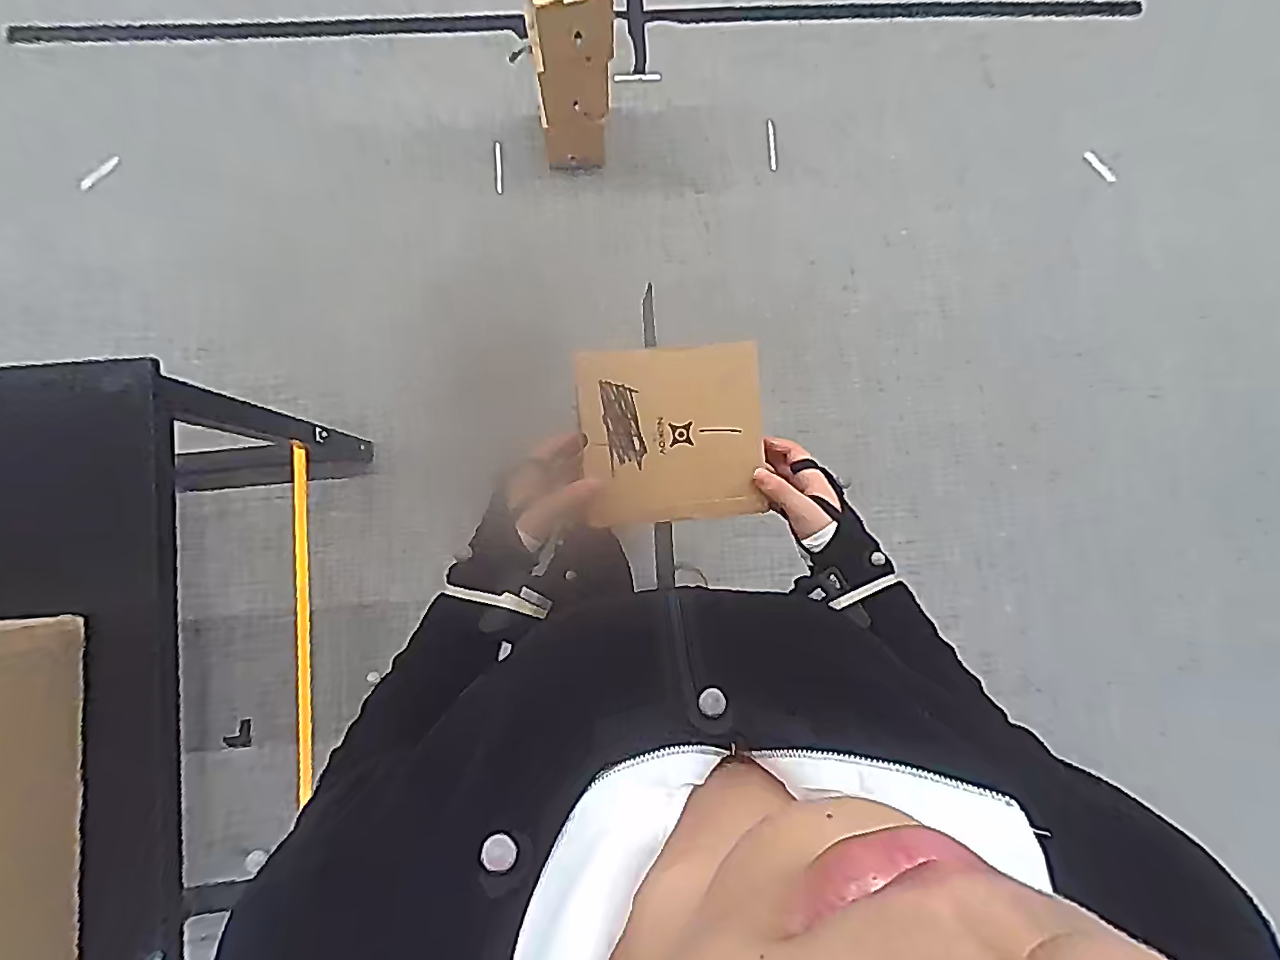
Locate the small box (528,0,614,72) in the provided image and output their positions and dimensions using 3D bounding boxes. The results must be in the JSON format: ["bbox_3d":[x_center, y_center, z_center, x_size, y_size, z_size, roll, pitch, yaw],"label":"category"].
[{"bbox_3d":[-0.153,-1.021,1.161,0.168,0.176,0.179,-14,86,-3],"label":"small box"}]

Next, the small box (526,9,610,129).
[{"bbox_3d":[-0.172,-1.010,1.324,0.168,0.176,0.179,-12,86,-2],"label":"small box"}]

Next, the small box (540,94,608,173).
[{"bbox_3d":[-0.180,-0.983,1.487,0.168,0.176,0.179,-7,87,-2],"label":"small box"}]

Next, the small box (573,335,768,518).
[{"bbox_3d":[0.026,-0.050,0.586,0.179,0.176,0.168,-5,91,-3],"label":"small box"}]
